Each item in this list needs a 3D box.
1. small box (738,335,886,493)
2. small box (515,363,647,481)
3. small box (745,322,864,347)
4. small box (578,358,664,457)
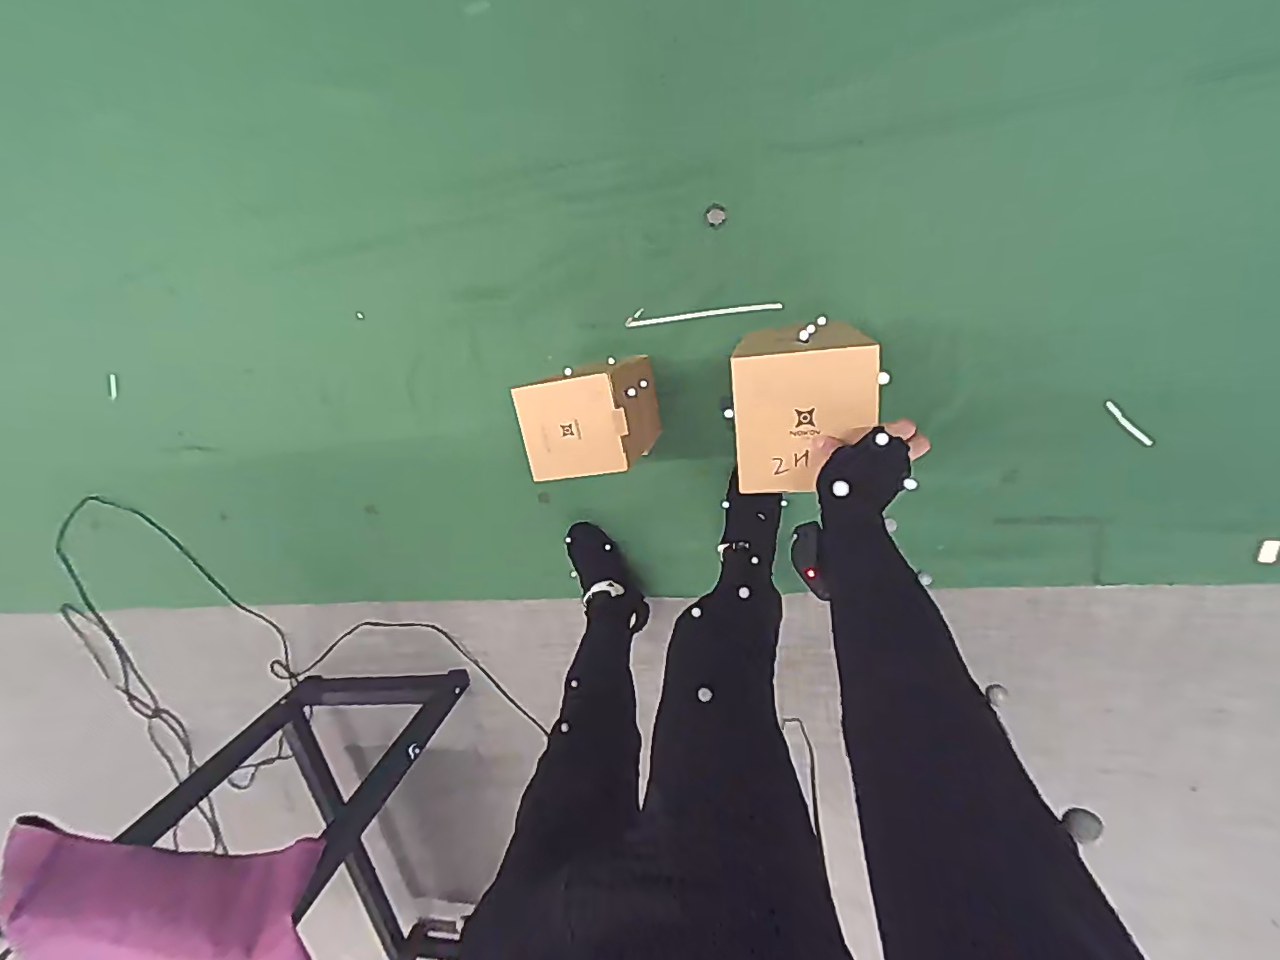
[{"bbox_3d":[0.218,-0.094,0.713,0.168,0.176,0.179,-2,110,15],"label":"small box"},{"bbox_3d":[-0.092,-0.108,0.962,0.179,0.176,0.168,-6,106,16],"label":"small box"},{"bbox_3d":[0.259,-0.147,0.864,0.168,0.176,0.179,-4,109,14],"label":"small box"},{"bbox_3d":[-0.055,-0.146,1.116,0.168,0.176,0.179,-7,107,15],"label":"small box"}]
